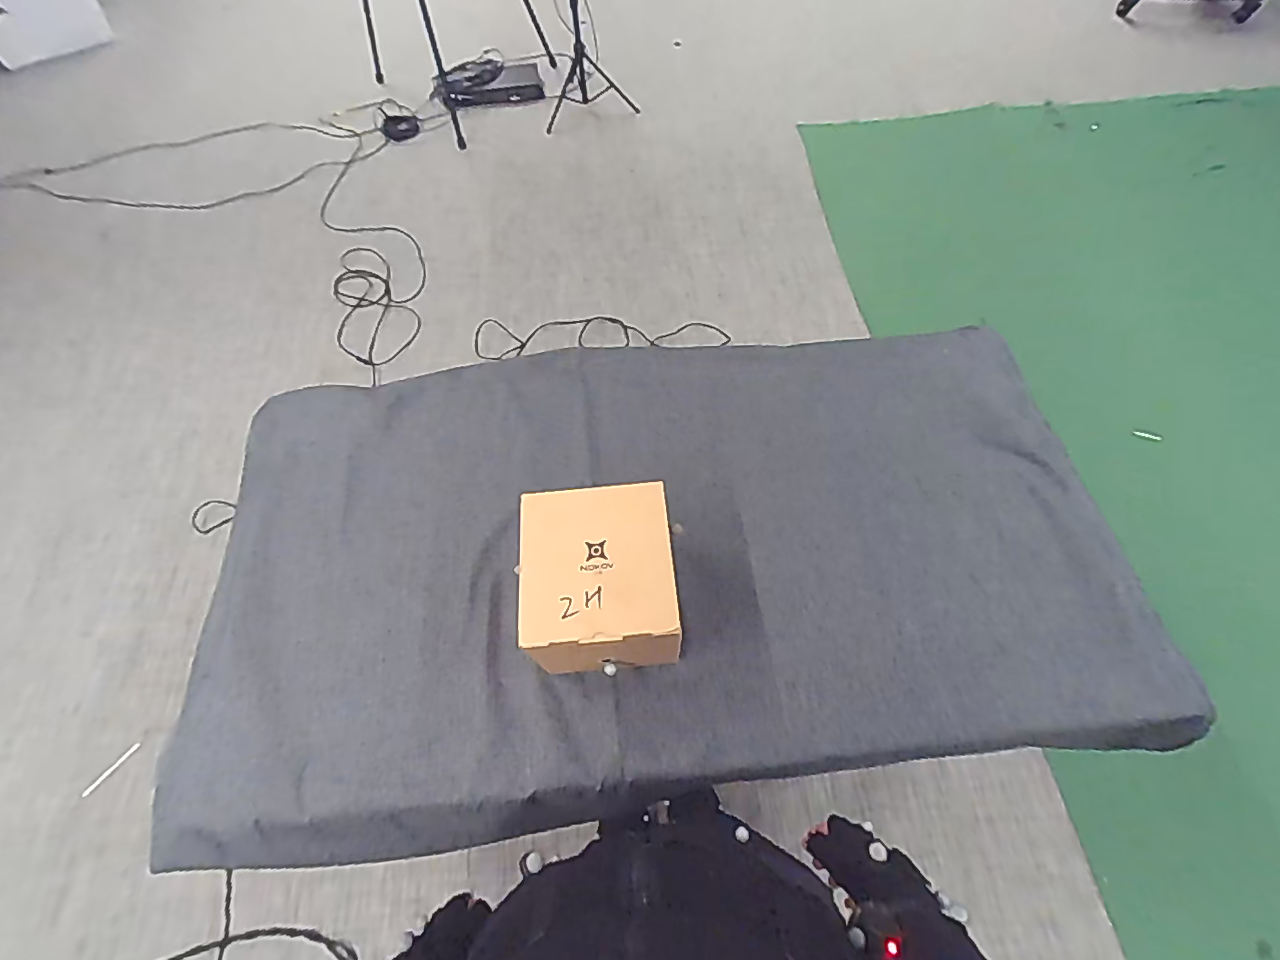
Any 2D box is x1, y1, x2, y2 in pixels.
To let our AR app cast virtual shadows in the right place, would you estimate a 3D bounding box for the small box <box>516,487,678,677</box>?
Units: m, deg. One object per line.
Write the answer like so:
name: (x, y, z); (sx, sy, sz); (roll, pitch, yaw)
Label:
small box: (-0.047, 0.127, 0.649); (0.168, 0.176, 0.179); (-6, 62, 0)
